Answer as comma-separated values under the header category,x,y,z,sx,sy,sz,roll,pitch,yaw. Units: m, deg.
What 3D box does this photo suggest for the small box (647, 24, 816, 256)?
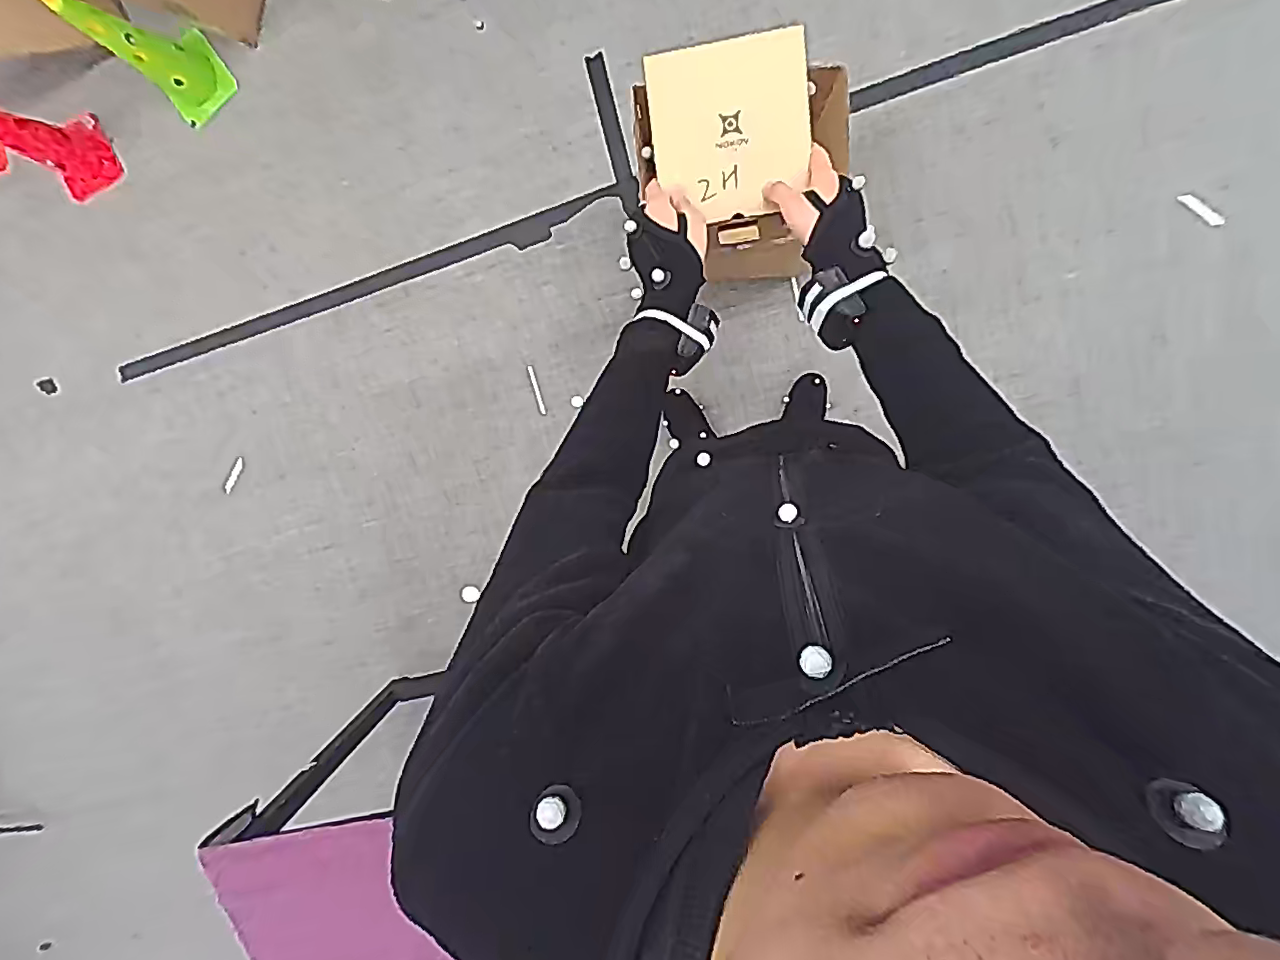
category,x,y,z,sx,sy,sz,roll,pitch,yaw
small box,0.103,-0.381,0.641,0.168,0.176,0.179,-6,104,7
